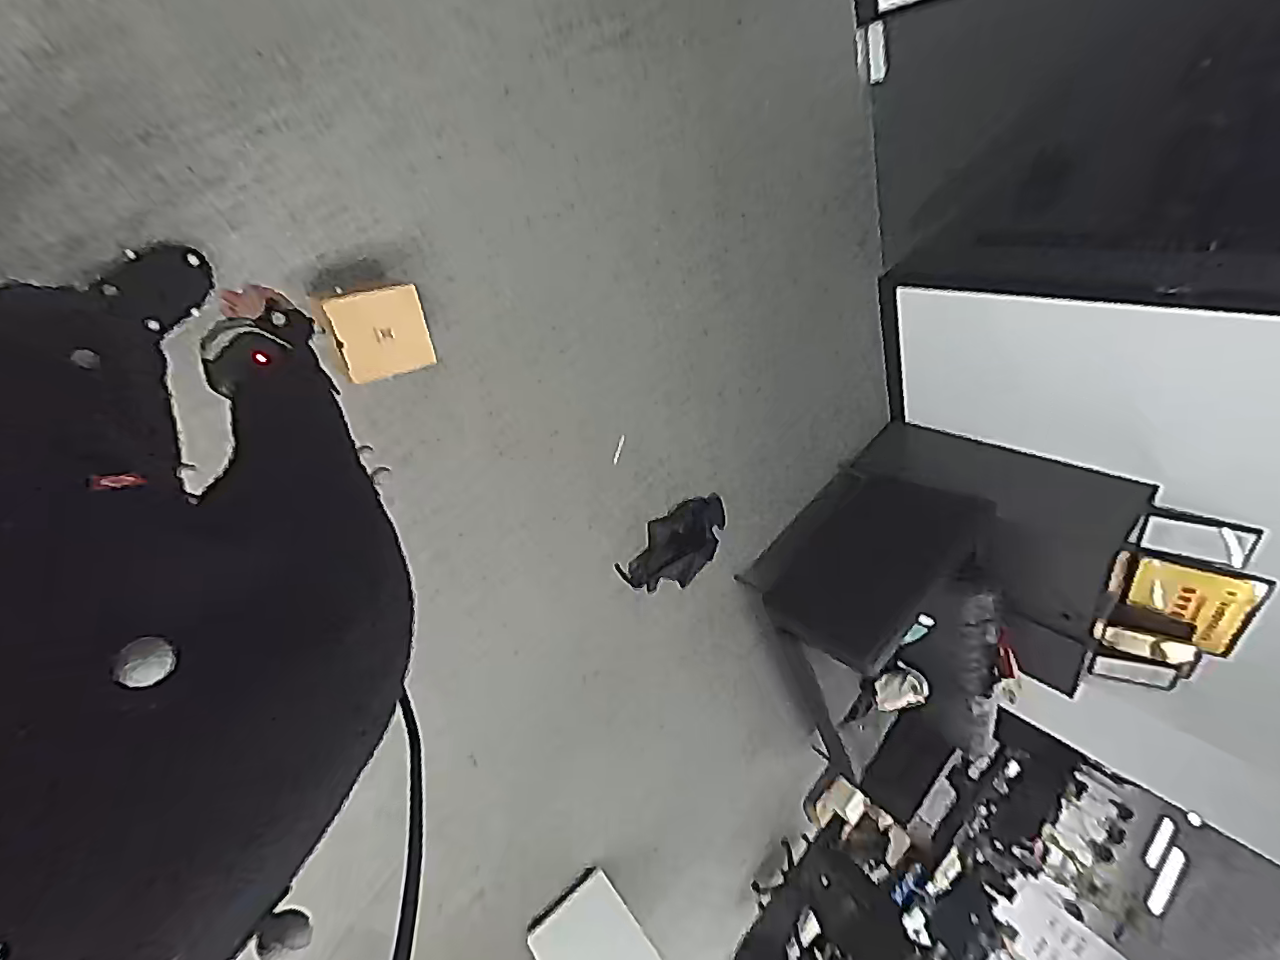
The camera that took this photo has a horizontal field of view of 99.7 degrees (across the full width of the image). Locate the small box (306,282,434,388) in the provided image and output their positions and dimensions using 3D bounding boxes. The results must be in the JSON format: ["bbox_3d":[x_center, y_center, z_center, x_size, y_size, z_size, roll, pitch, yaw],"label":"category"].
[{"bbox_3d":[-0.566,-0.312,1.134,0.179,0.176,0.168,-26,125,-30],"label":"small box"}]
